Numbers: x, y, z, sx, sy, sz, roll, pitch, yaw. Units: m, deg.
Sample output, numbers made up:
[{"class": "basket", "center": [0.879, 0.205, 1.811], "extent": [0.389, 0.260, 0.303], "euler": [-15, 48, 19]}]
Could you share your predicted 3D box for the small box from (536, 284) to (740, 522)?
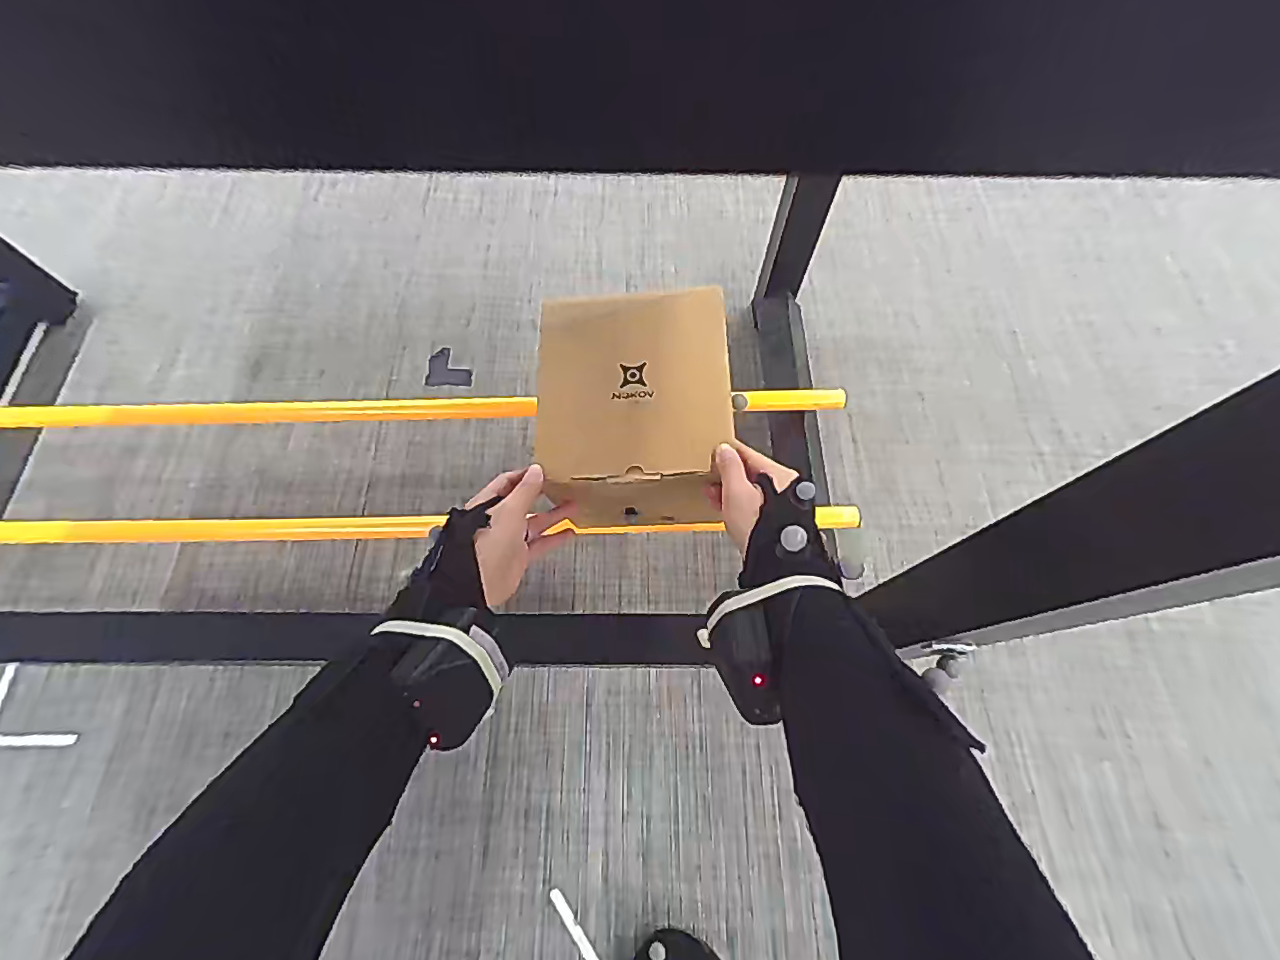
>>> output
[{"class": "small box", "center": [0.003, -0.063, 0.530], "extent": [0.168, 0.176, 0.179], "euler": [-3, 73, 4]}]
